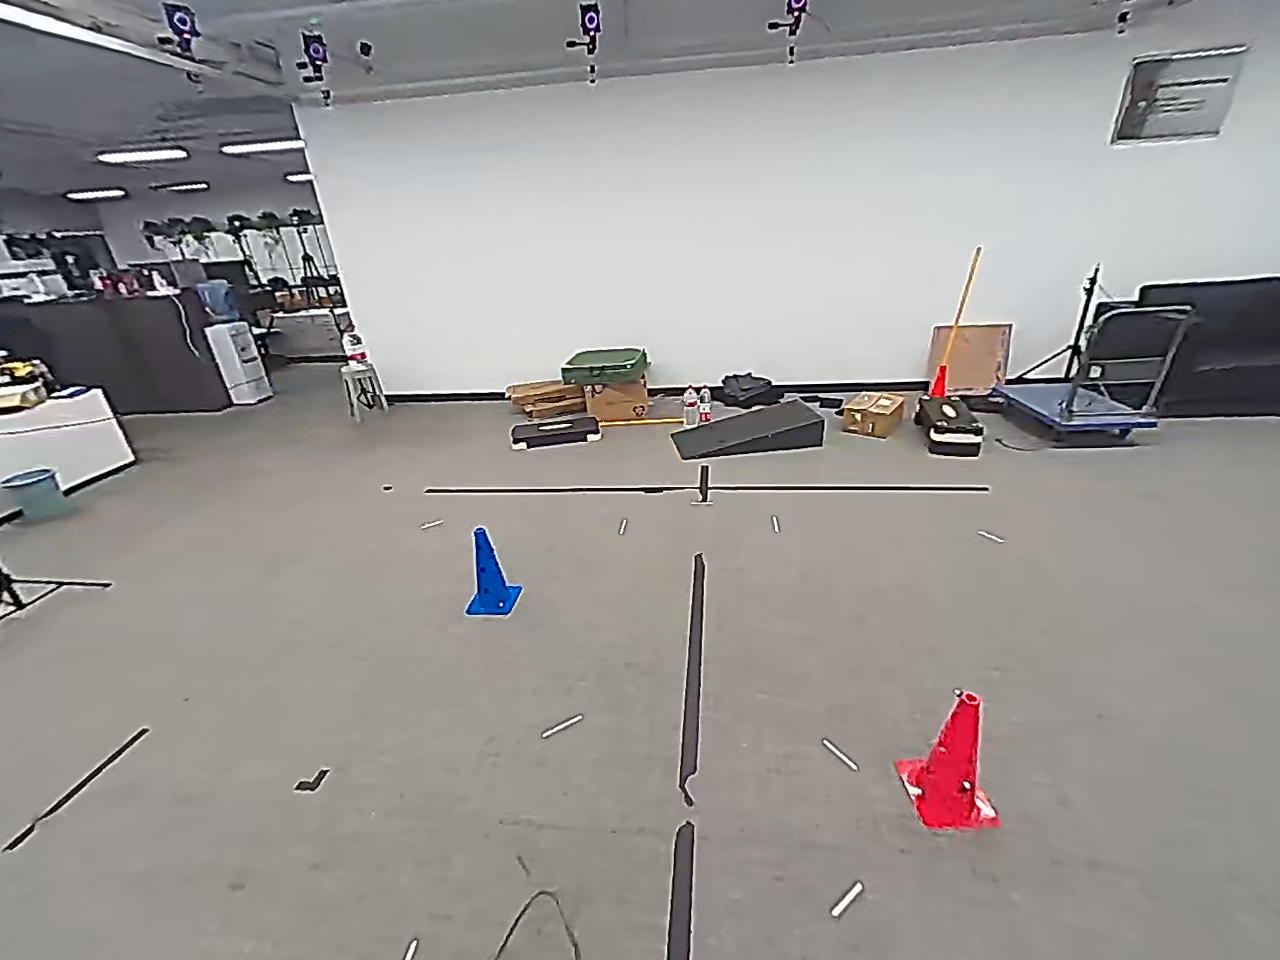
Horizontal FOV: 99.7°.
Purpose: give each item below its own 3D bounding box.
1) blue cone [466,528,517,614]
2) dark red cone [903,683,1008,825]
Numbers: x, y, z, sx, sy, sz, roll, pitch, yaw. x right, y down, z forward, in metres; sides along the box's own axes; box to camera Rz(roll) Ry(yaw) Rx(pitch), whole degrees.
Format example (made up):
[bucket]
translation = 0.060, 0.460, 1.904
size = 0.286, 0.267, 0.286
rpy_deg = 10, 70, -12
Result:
[blue cone]
translation = -0.655, 0.373, 2.283
size = 0.192, 0.380, 0.193
rpy_deg = -1, 25, 9
[dark red cone]
translation = 0.824, 0.673, 1.377
size = 0.201, 0.394, 0.202
rpy_deg = -4, 25, 1
